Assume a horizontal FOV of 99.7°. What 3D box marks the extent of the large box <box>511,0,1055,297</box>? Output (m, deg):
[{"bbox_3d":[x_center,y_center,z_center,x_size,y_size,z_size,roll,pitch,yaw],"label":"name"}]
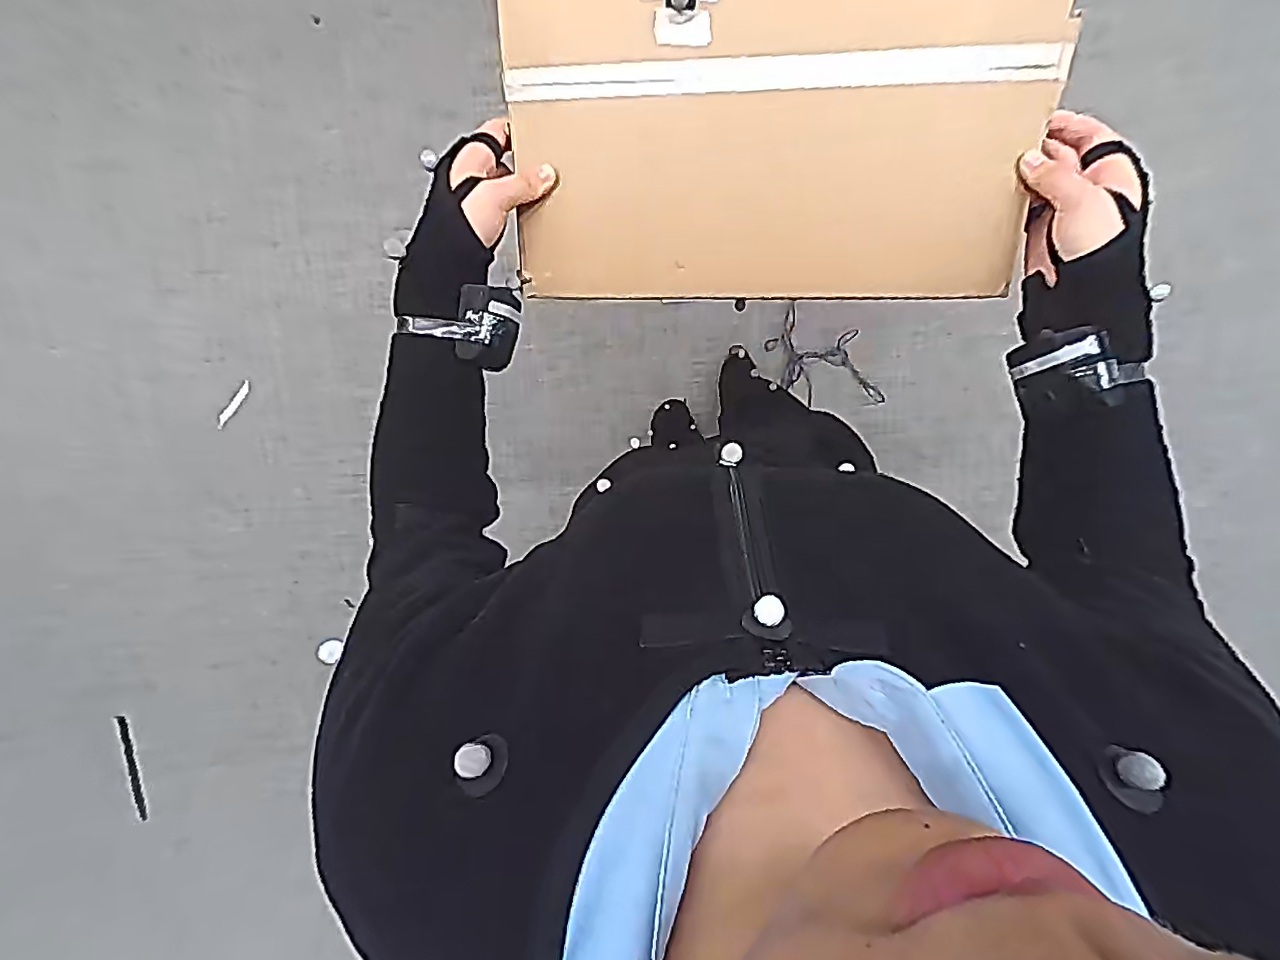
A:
[{"bbox_3d":[0.116,-0.358,0.557,0.408,0.320,0.320,1,108,7],"label":"large box"}]
